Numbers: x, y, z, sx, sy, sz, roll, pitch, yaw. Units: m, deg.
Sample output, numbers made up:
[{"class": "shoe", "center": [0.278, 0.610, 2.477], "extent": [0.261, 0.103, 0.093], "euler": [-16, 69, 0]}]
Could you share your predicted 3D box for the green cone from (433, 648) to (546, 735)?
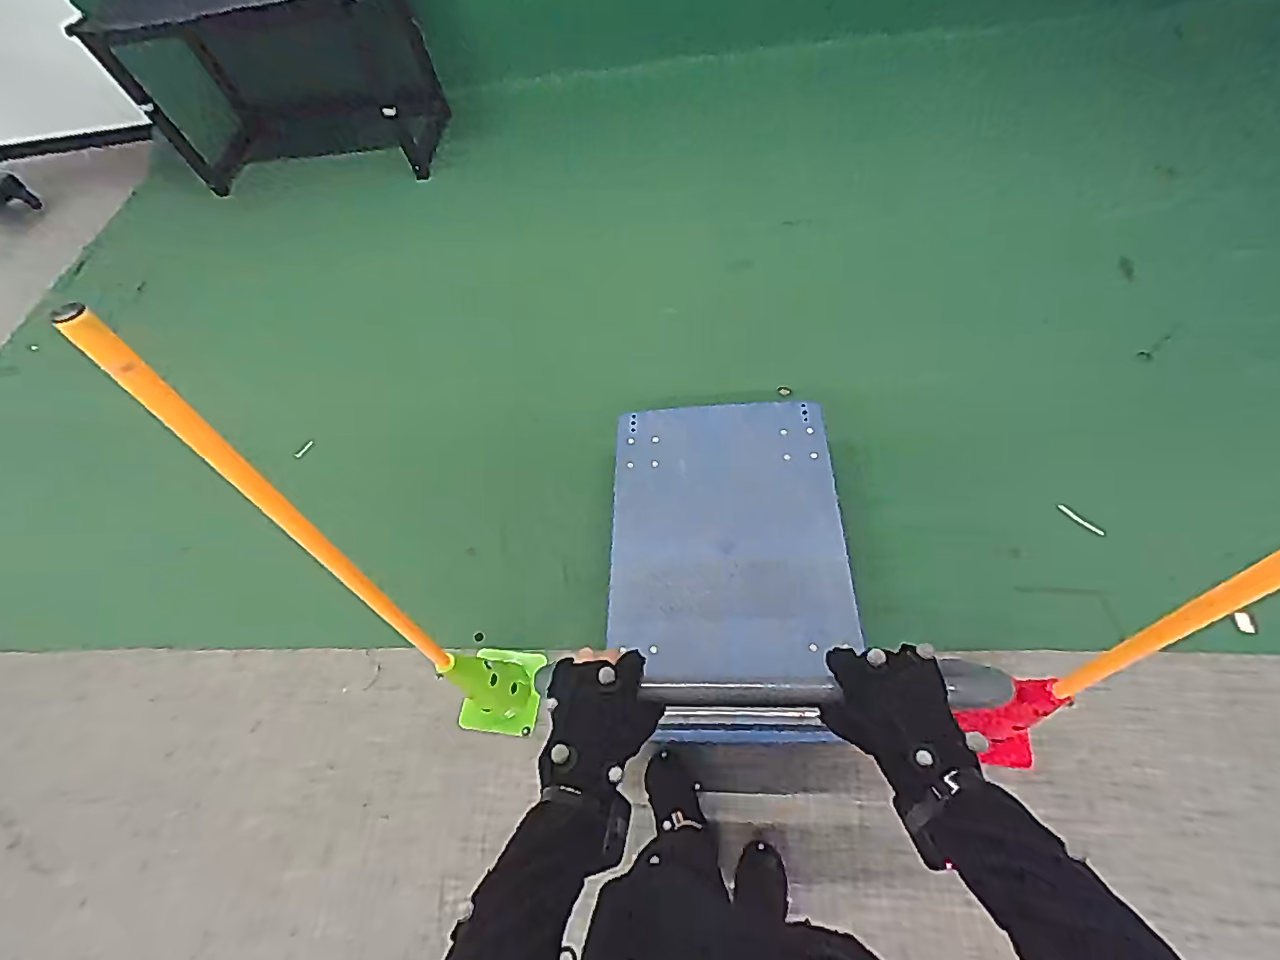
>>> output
[{"class": "green cone", "center": [-0.377, 0.460, 1.263], "extent": [0.202, 0.368, 0.200], "euler": [2, 60, 11]}]
